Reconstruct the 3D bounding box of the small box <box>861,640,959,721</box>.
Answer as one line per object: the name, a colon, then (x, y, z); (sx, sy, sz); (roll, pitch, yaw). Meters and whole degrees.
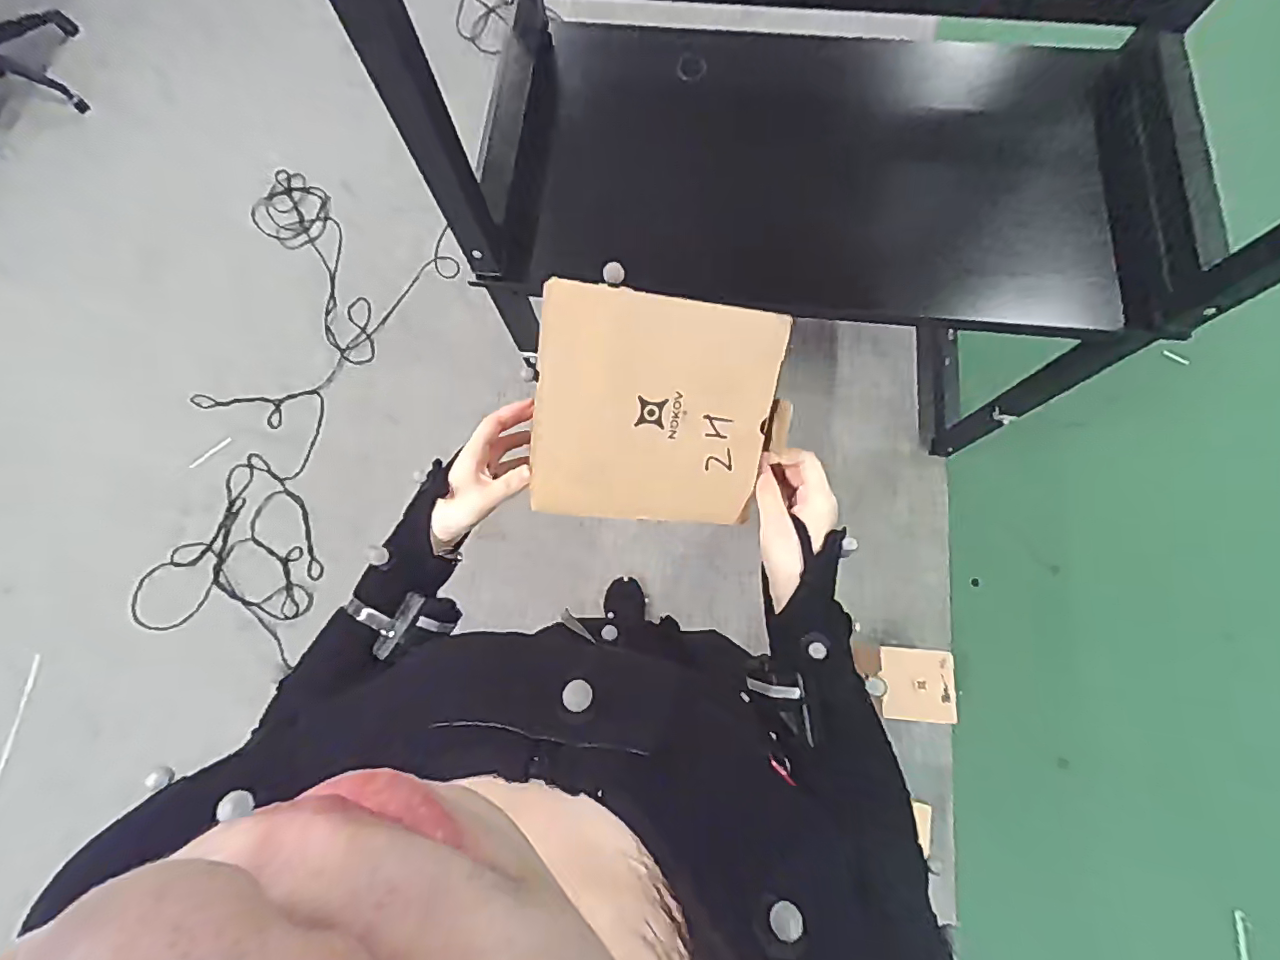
small box: (0.666, 0.495, 1.354); (0.179, 0.176, 0.168); (4, 76, 4)
